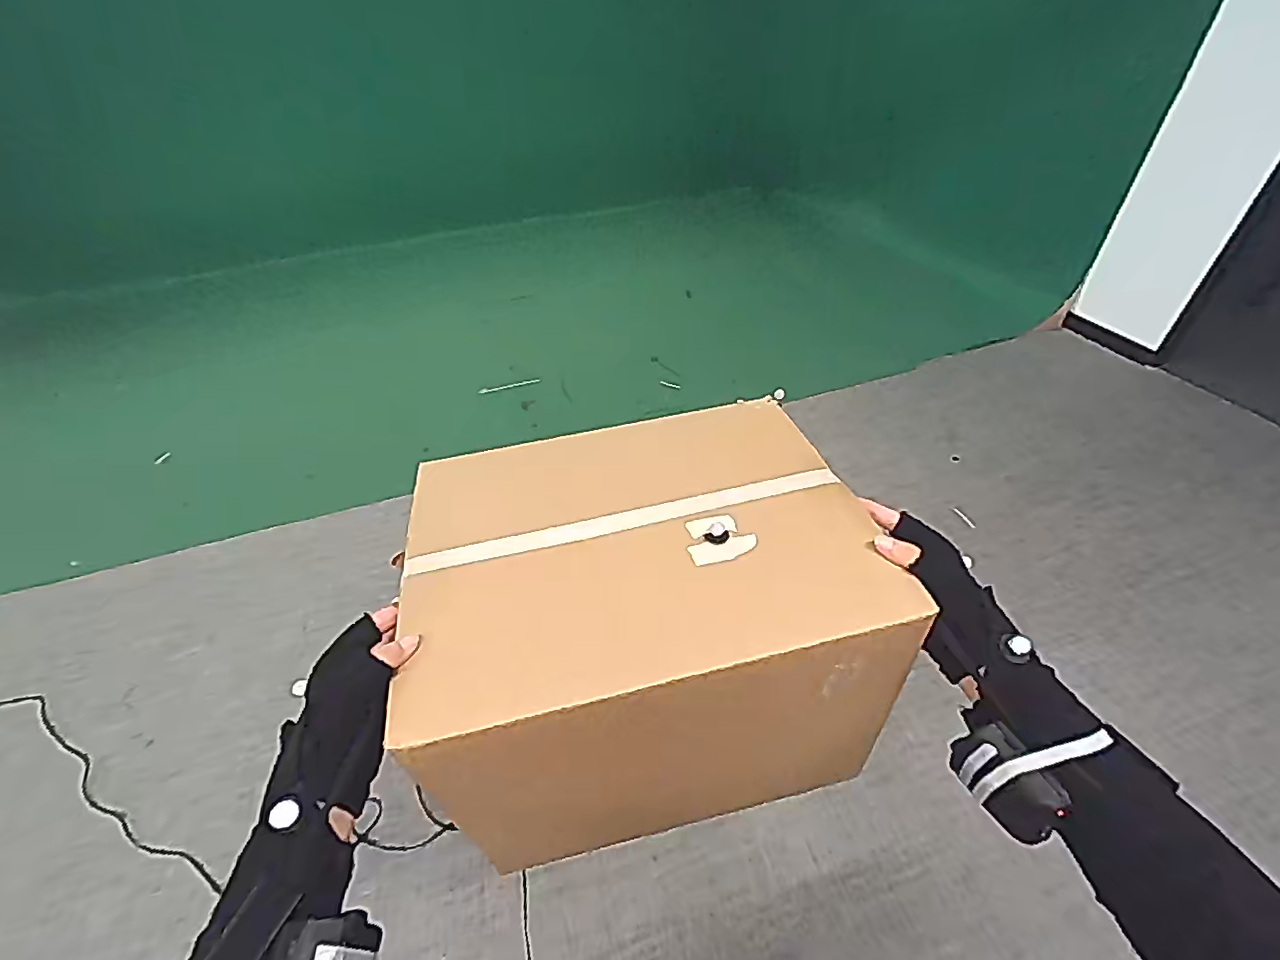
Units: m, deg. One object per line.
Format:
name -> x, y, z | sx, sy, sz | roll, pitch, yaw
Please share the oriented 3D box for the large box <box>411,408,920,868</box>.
large box -> 0.005, 0.160, 0.604 | 0.408, 0.320, 0.320 | -11, 42, -8
